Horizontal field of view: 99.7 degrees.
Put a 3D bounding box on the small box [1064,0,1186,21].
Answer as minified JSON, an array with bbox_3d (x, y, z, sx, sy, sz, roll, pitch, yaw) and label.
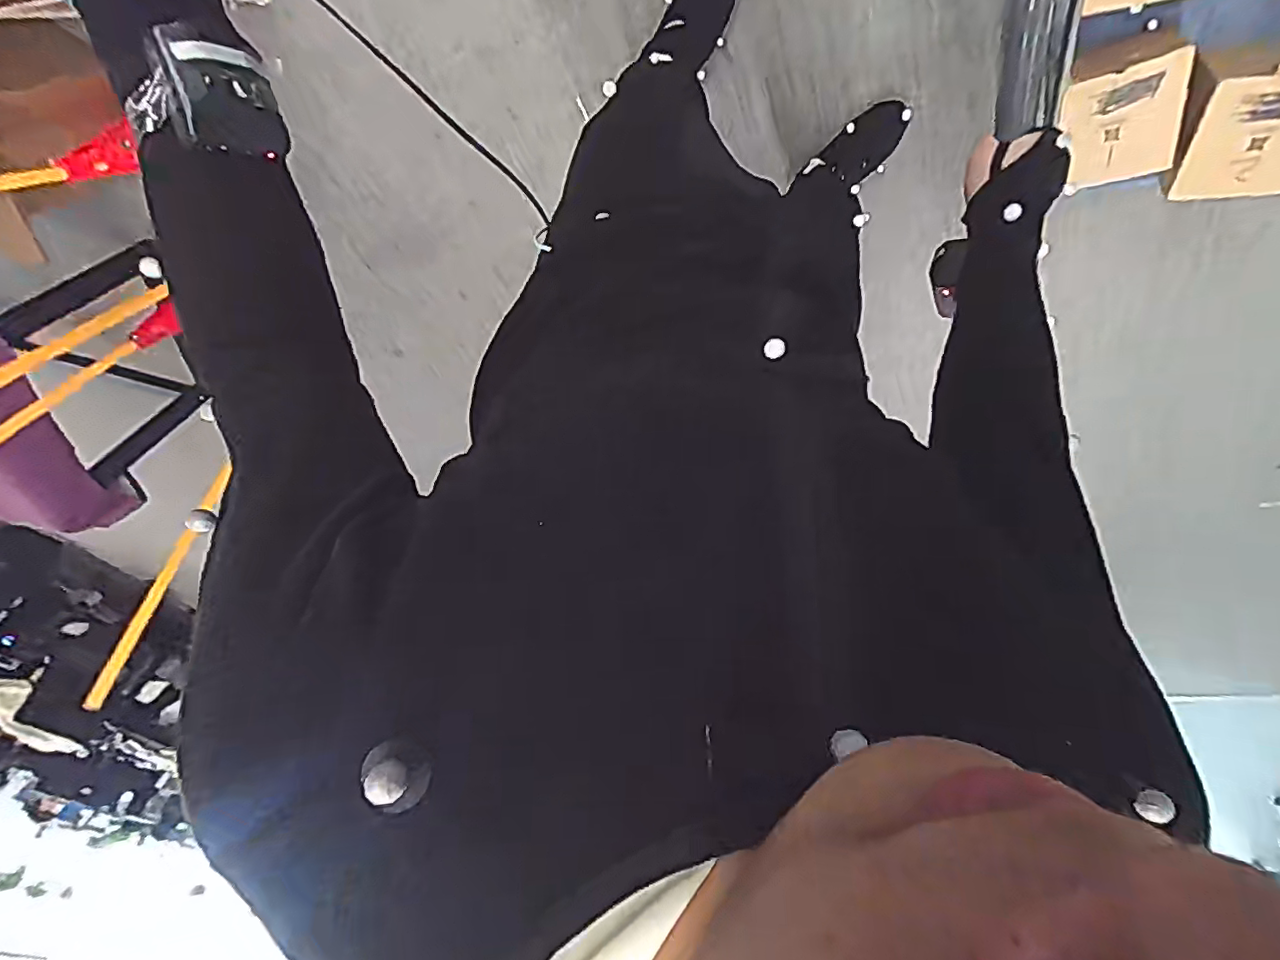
[{"bbox_3d":[0.731,-0.790,0.763,0.179,0.176,0.168,8,141,26],"label":"small box"}]
